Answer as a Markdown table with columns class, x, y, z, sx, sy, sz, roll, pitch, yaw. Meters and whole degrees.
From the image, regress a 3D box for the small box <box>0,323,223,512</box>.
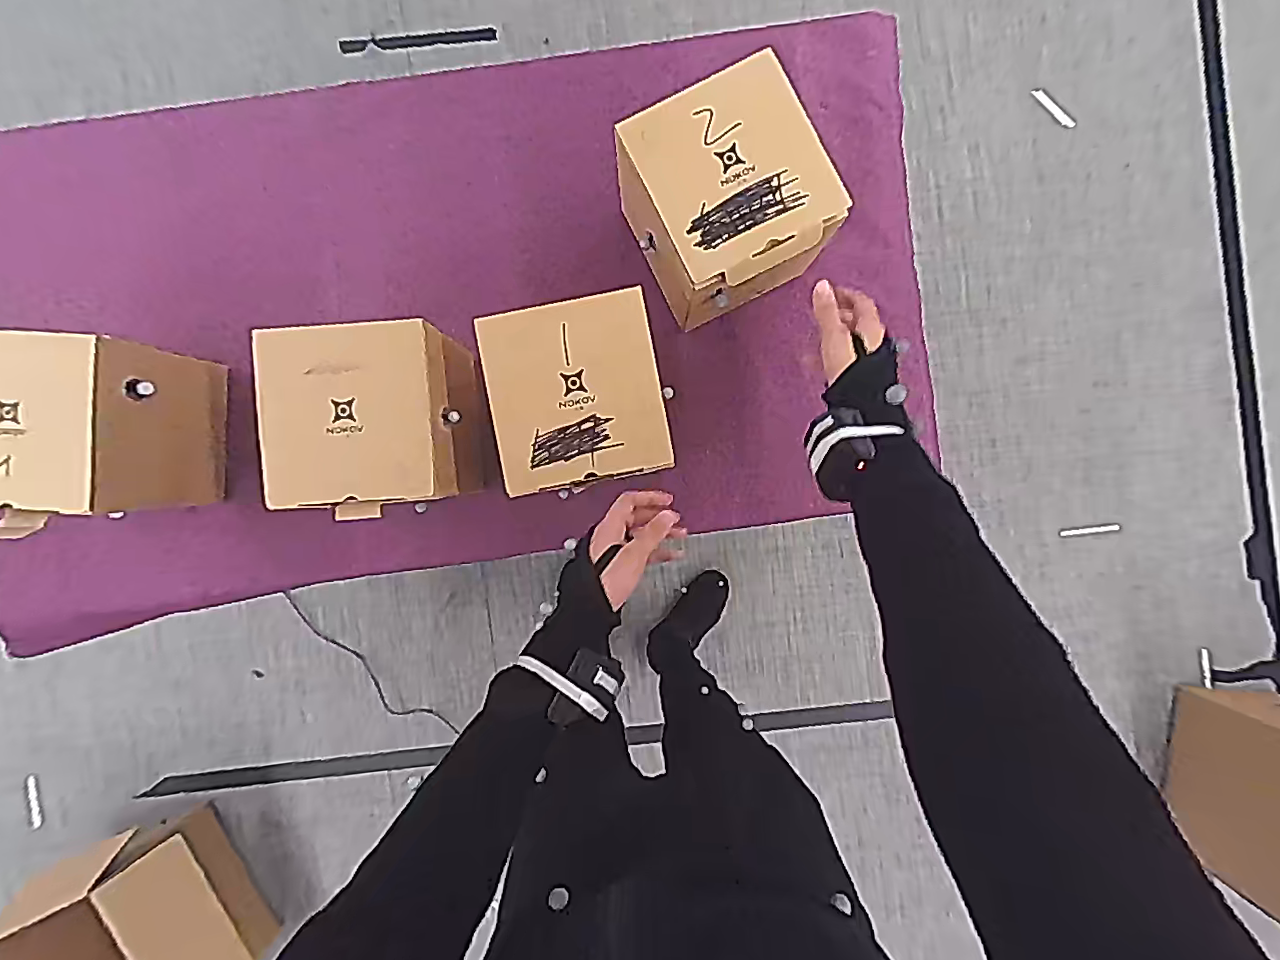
| class | x | y | z | sx | sy | sz | roll | pitch | yaw |
| --- | --- | --- | --- | --- | --- | --- | --- | --- | --- |
| small box | -0.600 | -0.063 | 0.593 | 0.168 | 0.176 | 0.179 | 3 | 92 | 0 |

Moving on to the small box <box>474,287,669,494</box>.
| class | x | y | z | sx | sy | sz | roll | pitch | yaw |
| --- | --- | --- | --- | --- | --- | --- | --- | --- | --- |
| small box | -0.063 | -0.087 | 0.594 | 0.168 | 0.176 | 0.179 | -11 | 90 | 0 |

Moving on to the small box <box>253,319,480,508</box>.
| class | x | y | z | sx | sy | sz | roll | pitch | yaw |
| --- | --- | --- | --- | --- | --- | --- | --- | --- | --- |
| small box | -0.282 | -0.067 | 0.597 | 0.168 | 0.176 | 0.179 | -3 | 92 | -1 |
